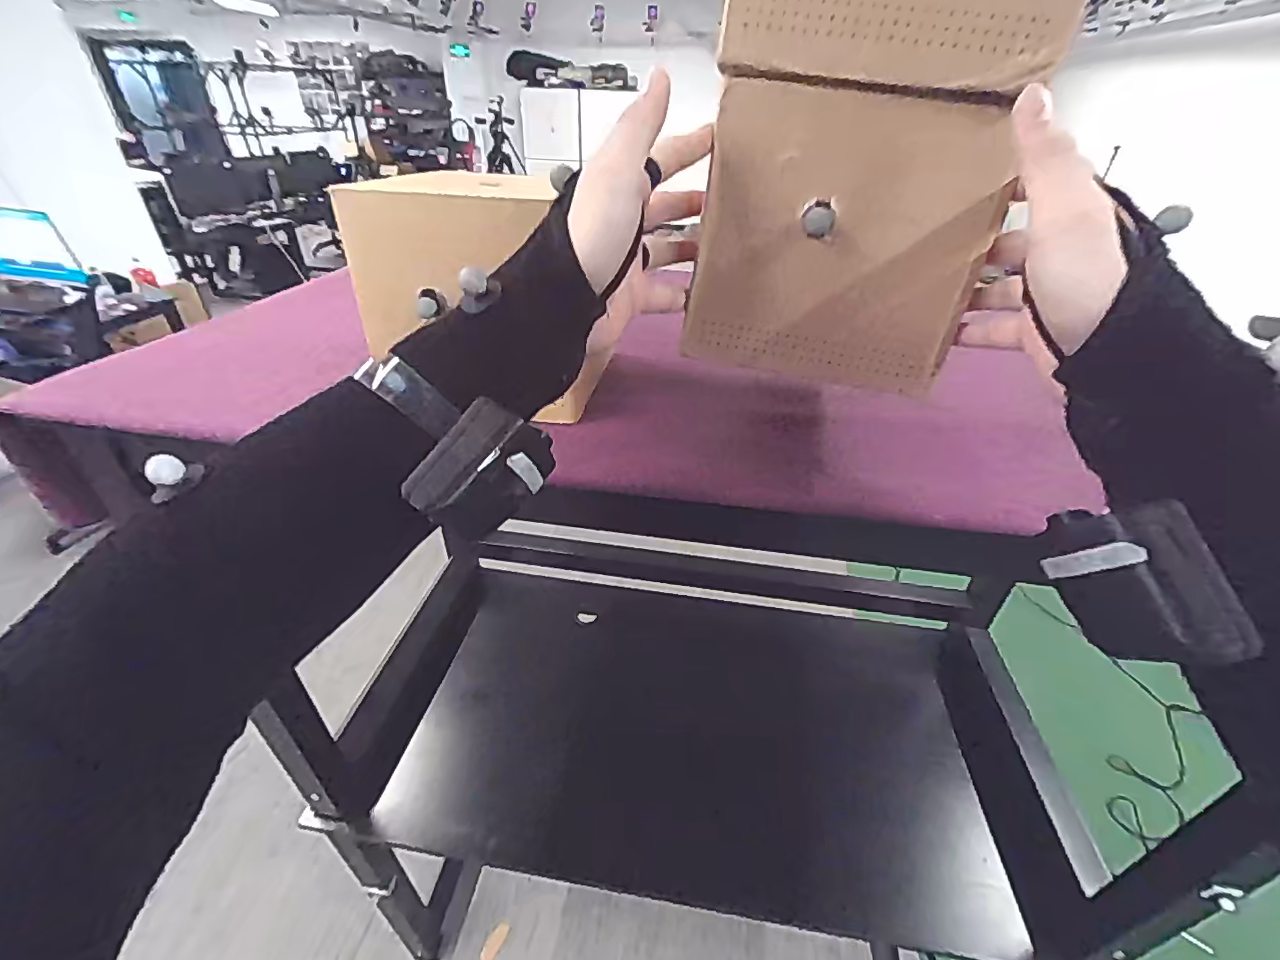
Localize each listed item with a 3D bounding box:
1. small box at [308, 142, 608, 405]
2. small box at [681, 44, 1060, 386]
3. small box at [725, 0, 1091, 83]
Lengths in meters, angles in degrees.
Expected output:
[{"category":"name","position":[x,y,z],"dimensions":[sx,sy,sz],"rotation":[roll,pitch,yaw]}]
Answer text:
[{"category":"small box","position":[-0.123,-0.176,0.449],"dimensions":[0.168,0.176,0.179],"rotation":[7,34,6]},{"category":"small box","position":[0.133,-0.177,0.385],"dimensions":[0.179,0.176,0.168],"rotation":[13,30,6]},{"category":"small box","position":[0.155,-0.315,0.299],"dimensions":[0.179,0.176,0.168],"rotation":[16,31,10]}]
